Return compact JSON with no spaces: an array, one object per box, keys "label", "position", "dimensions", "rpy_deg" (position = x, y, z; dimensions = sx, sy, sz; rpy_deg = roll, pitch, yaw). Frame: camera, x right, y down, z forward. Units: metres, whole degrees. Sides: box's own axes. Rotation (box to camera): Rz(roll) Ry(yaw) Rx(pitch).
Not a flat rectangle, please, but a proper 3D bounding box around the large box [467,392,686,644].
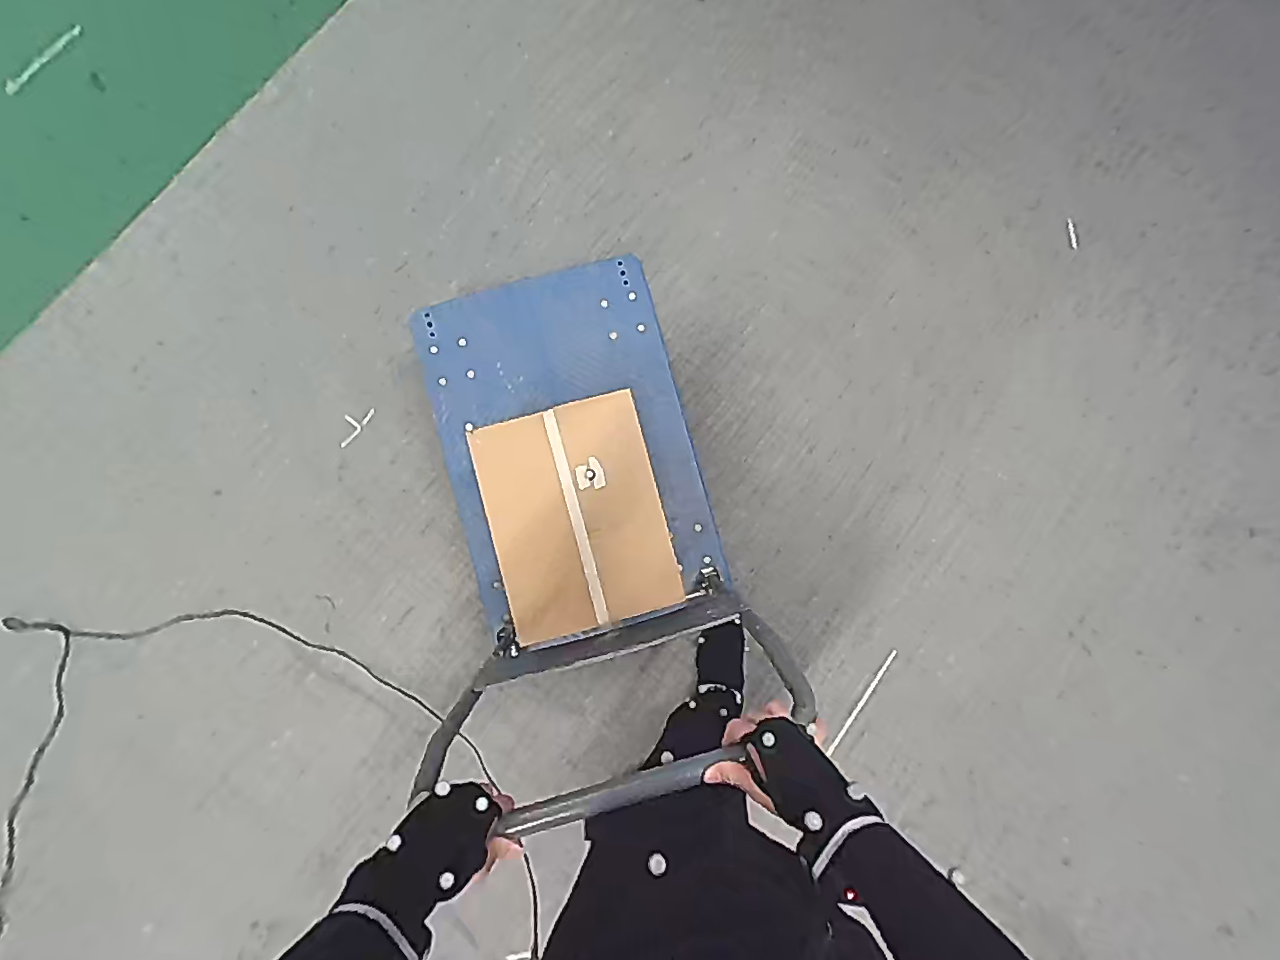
[{"label":"large box","position":[-0.116,0.076,1.130],"dimensions":[0.320,0.320,0.408],"rpy_deg":[-16,87,-2]}]
